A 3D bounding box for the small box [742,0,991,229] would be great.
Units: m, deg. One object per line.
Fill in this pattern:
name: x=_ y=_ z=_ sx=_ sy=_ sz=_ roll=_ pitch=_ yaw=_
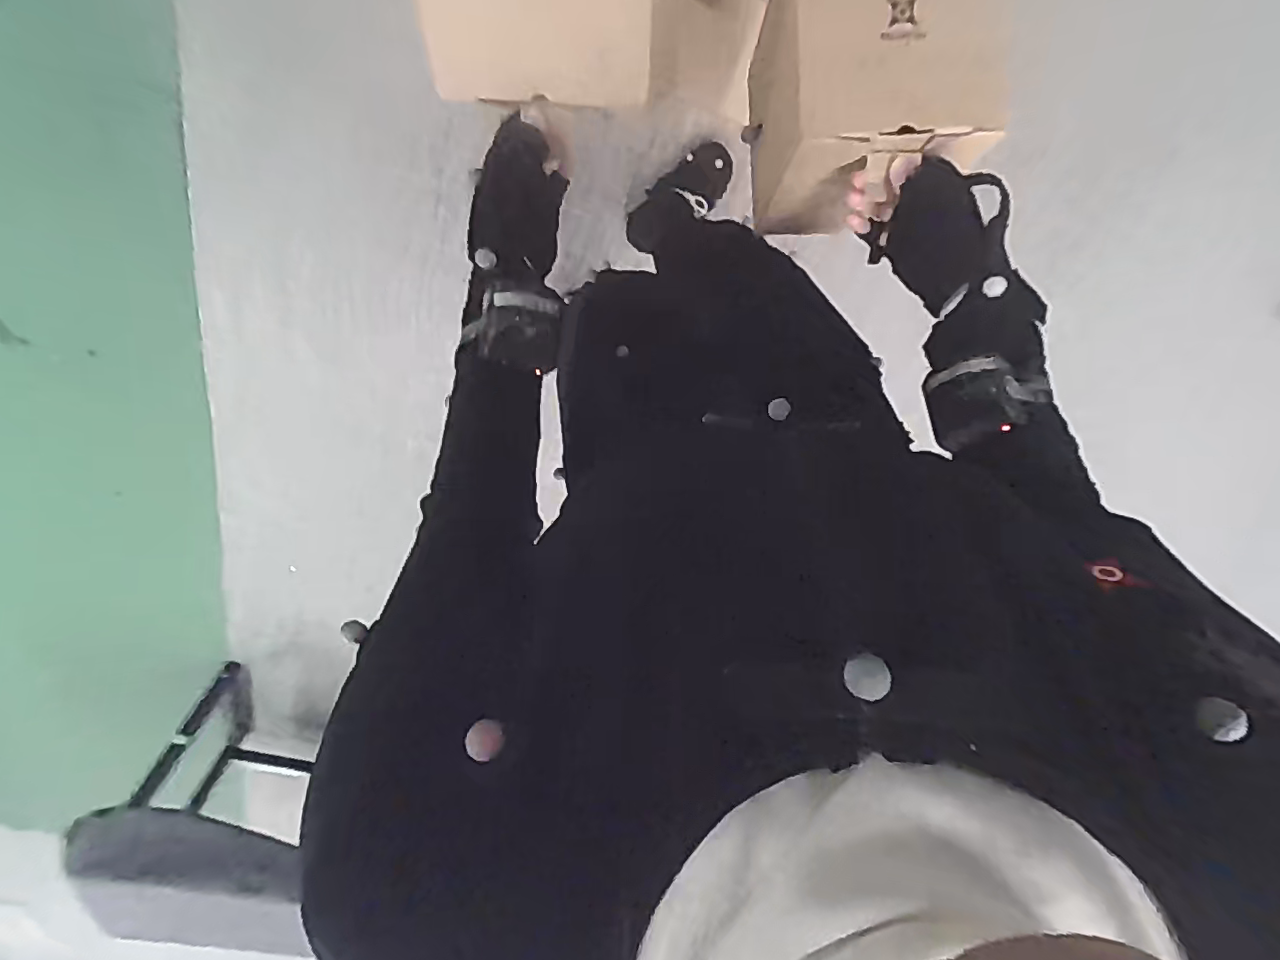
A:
small box: x=0.192 y=-0.353 z=0.505 sx=0.168 sy=0.176 sz=0.179 roll=-3 pitch=90 yaw=1
